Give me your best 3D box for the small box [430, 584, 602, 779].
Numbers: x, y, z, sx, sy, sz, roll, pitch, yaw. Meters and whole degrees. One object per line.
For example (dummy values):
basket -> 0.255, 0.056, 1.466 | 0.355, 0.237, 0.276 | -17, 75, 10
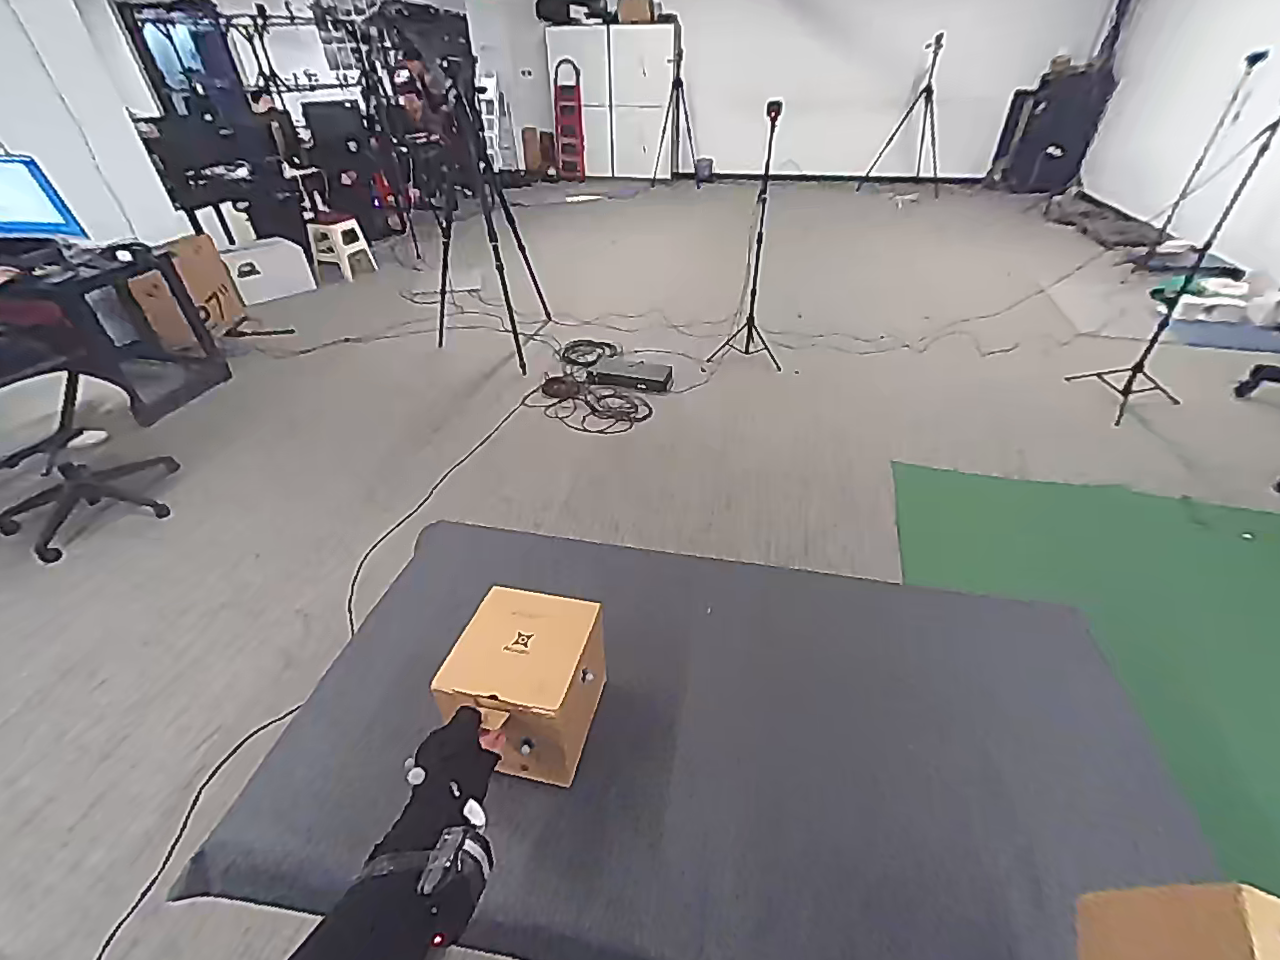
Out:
small box -> -0.153, 0.274, 0.743 | 0.168, 0.176, 0.179 | 7, 34, 11
